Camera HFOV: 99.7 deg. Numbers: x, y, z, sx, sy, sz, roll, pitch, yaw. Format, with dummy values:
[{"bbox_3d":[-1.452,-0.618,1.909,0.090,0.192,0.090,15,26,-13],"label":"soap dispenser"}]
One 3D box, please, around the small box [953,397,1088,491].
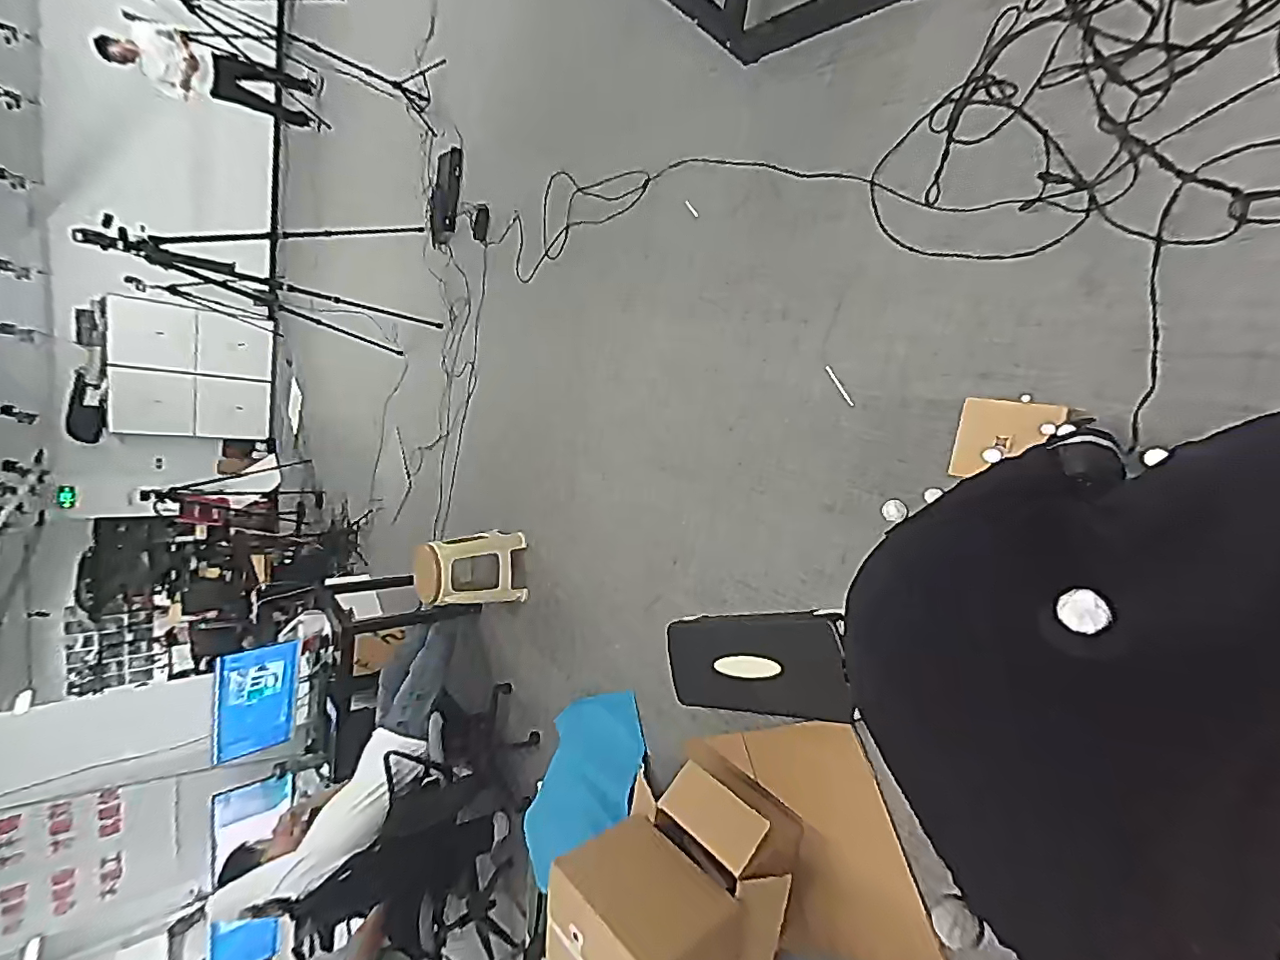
[{"bbox_3d":[0.790,-0.073,1.123,0.179,0.176,0.168,17,102,46],"label":"small box"}]
